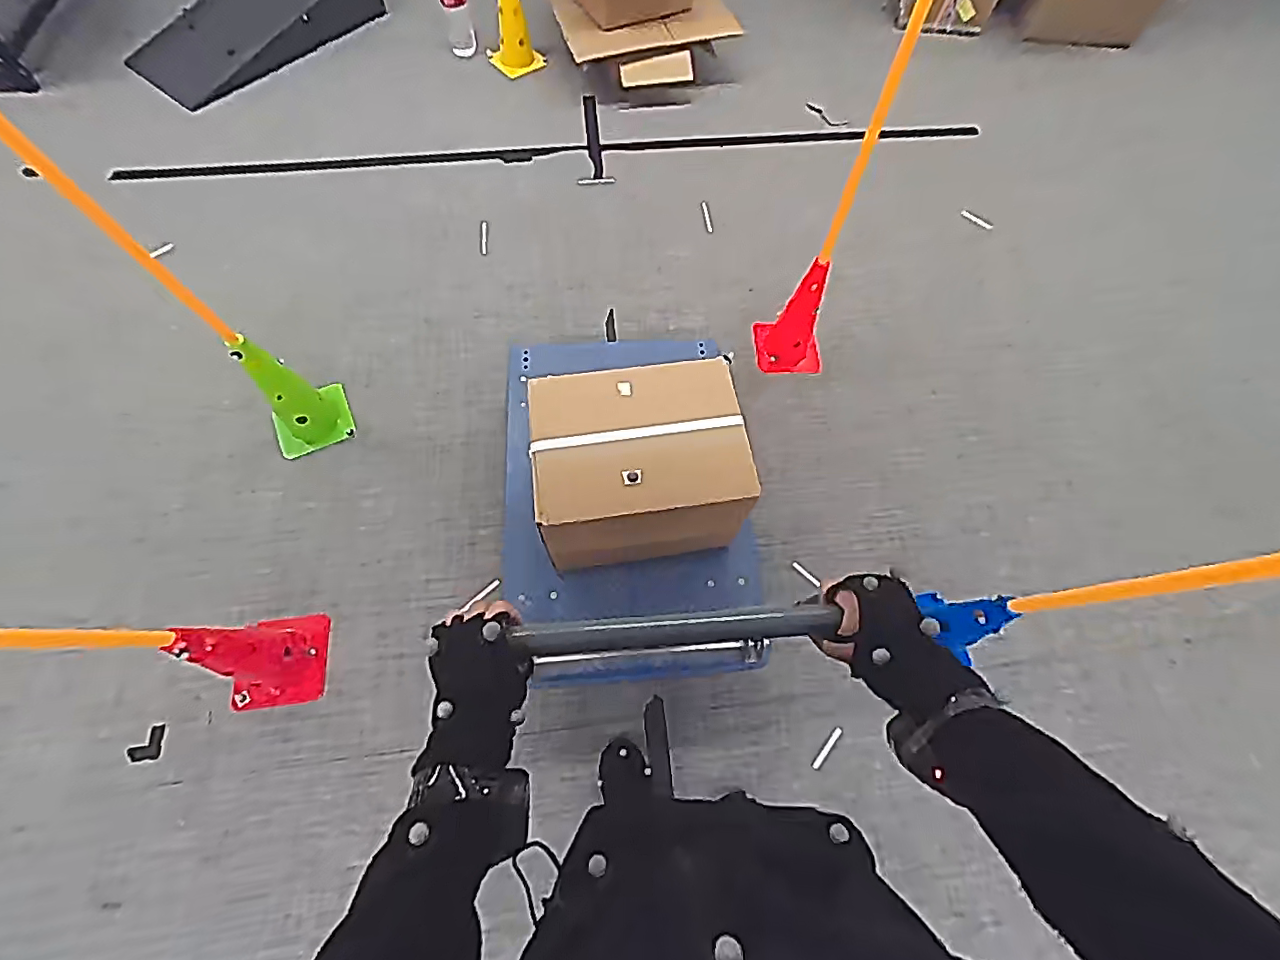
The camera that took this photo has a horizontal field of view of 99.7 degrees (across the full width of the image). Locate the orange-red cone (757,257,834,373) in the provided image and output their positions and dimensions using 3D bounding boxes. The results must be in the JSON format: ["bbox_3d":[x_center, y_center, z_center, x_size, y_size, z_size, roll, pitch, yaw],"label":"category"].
[{"bbox_3d":[0.481,-0.495,1.563,0.199,0.360,0.198,1,66,-3],"label":"orange-red cone"}]

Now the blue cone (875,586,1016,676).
[{"bbox_3d":[0.710,0.313,1.210,0.193,0.380,0.192,-9,64,-6],"label":"blue cone"}]
